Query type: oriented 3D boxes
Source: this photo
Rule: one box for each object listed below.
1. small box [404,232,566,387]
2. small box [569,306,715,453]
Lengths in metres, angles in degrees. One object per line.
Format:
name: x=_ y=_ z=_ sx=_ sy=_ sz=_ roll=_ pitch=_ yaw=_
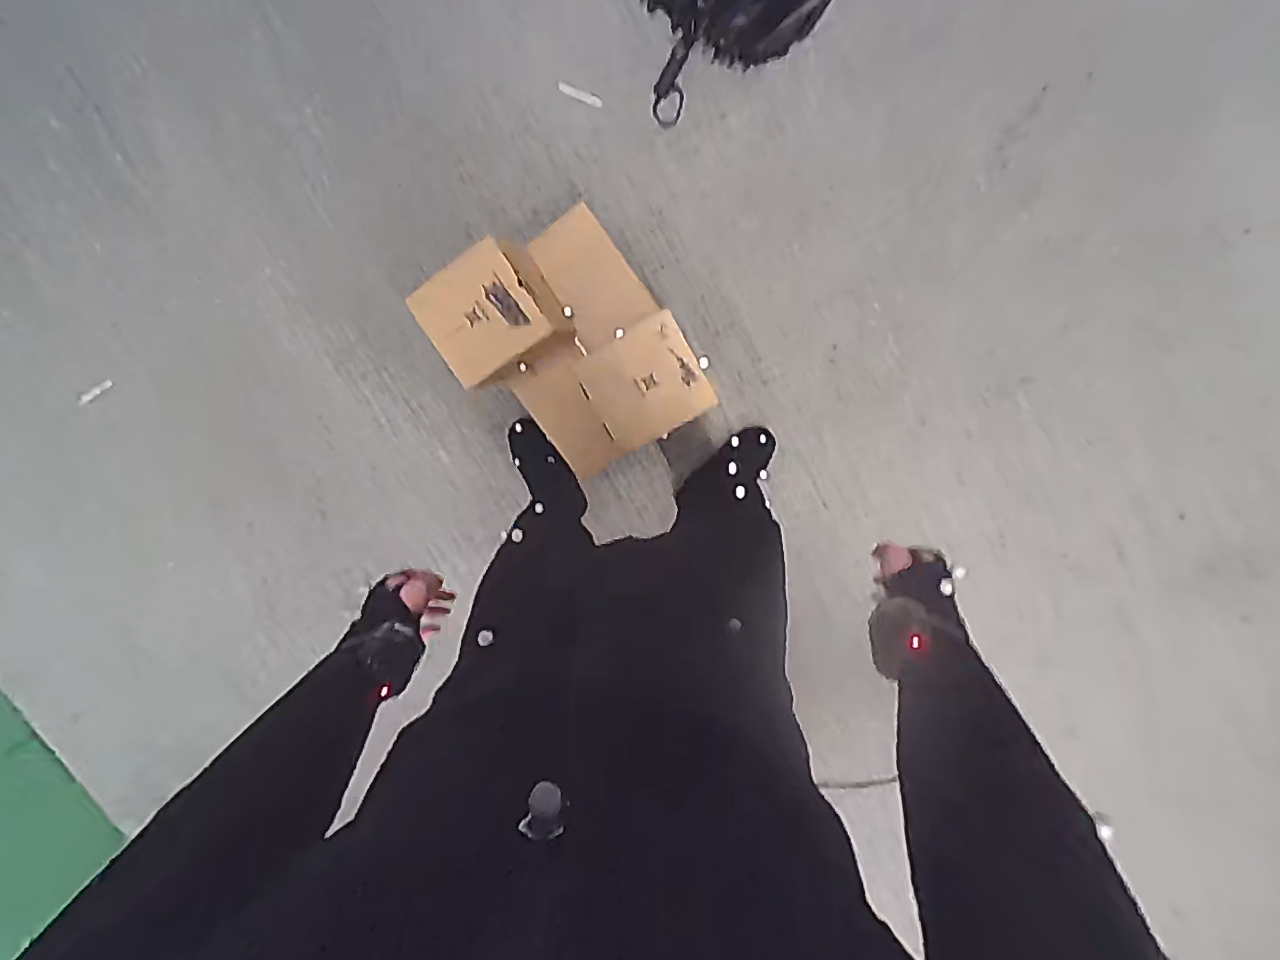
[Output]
small box: x=-0.237 y=-0.273 z=0.888 sx=0.179 sy=0.176 sz=0.168 roll=-30 pitch=99 yaw=12
small box: x=0.007 y=-0.164 z=0.898 sx=0.179 sy=0.176 sz=0.168 roll=-28 pitch=99 yaw=7
